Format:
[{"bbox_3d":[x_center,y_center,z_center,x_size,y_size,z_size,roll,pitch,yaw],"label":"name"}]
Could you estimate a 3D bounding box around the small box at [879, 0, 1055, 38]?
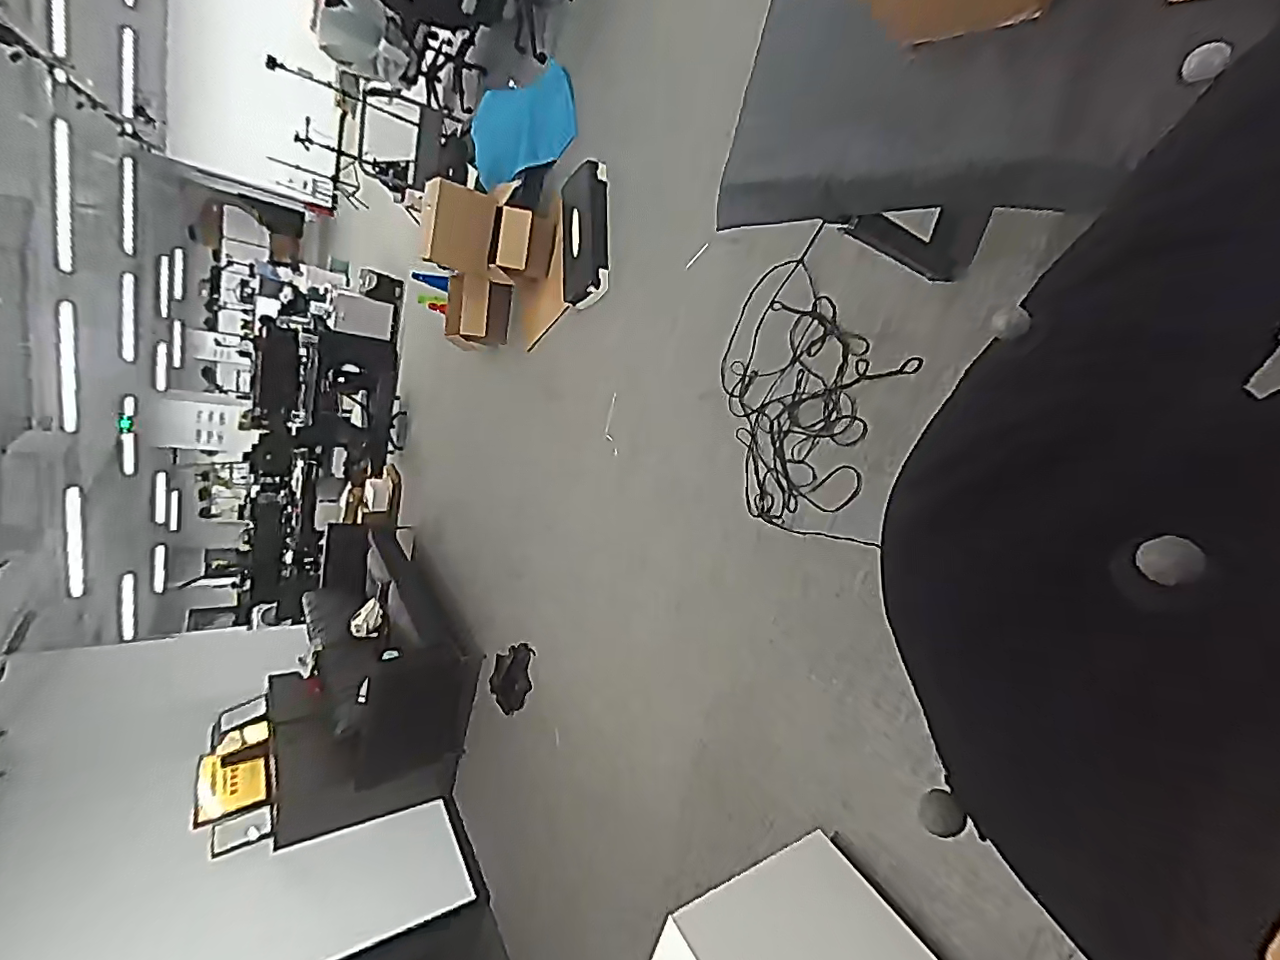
[{"bbox_3d":[0.357,-0.610,0.570,0.179,0.176,0.168,38,118,47],"label":"small box"}]
